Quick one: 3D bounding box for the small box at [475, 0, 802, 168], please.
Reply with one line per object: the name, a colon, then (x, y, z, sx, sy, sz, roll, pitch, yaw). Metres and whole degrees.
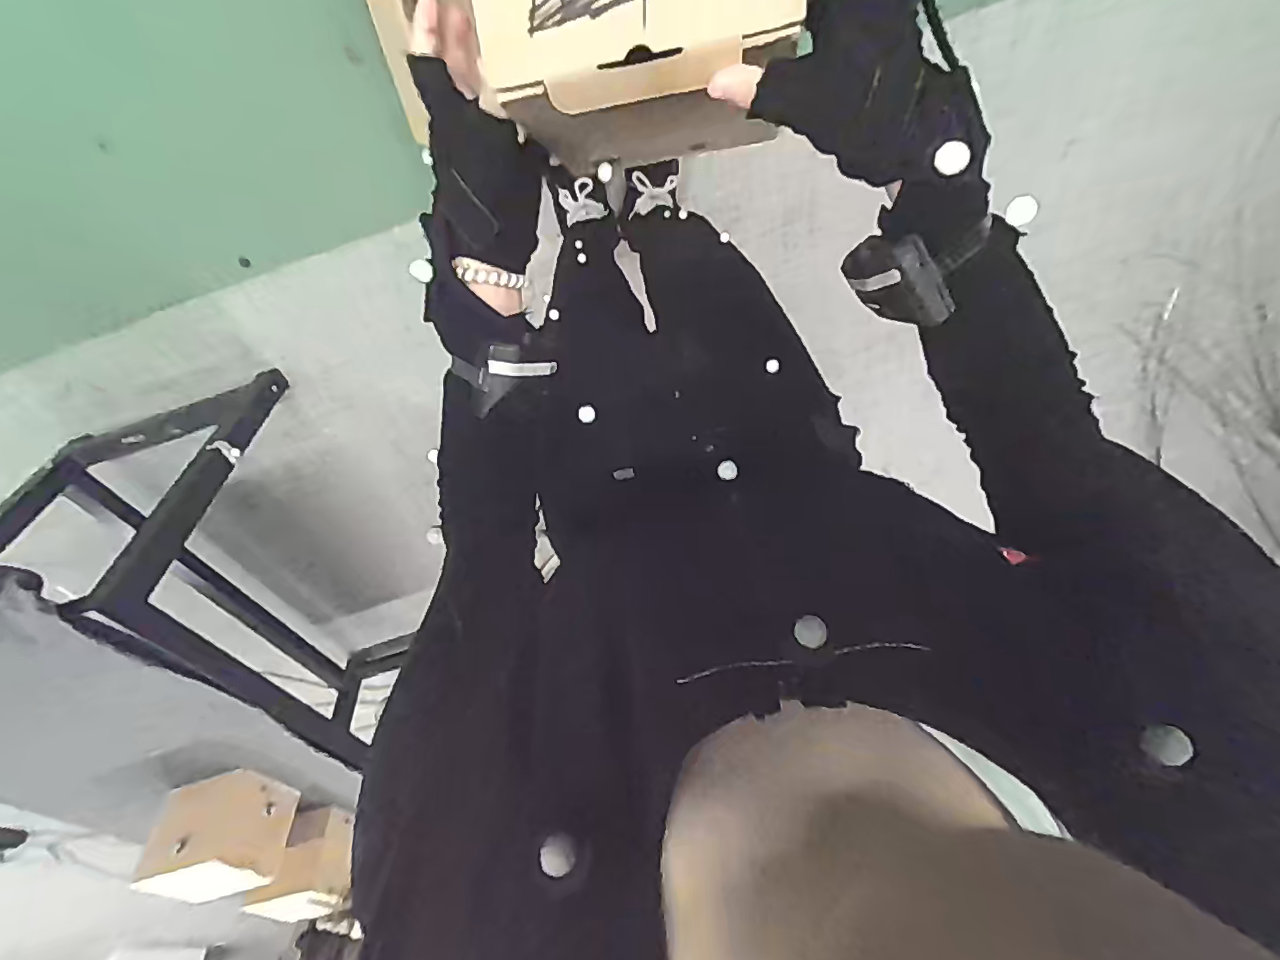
small box: (0.001, -0.313, 0.331, 0.168, 0.176, 0.179, -6, 105, 10)

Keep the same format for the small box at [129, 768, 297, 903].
small box: (-0.840, 0.713, 1.088, 0.179, 0.176, 0.168, -19, 131, 4)
